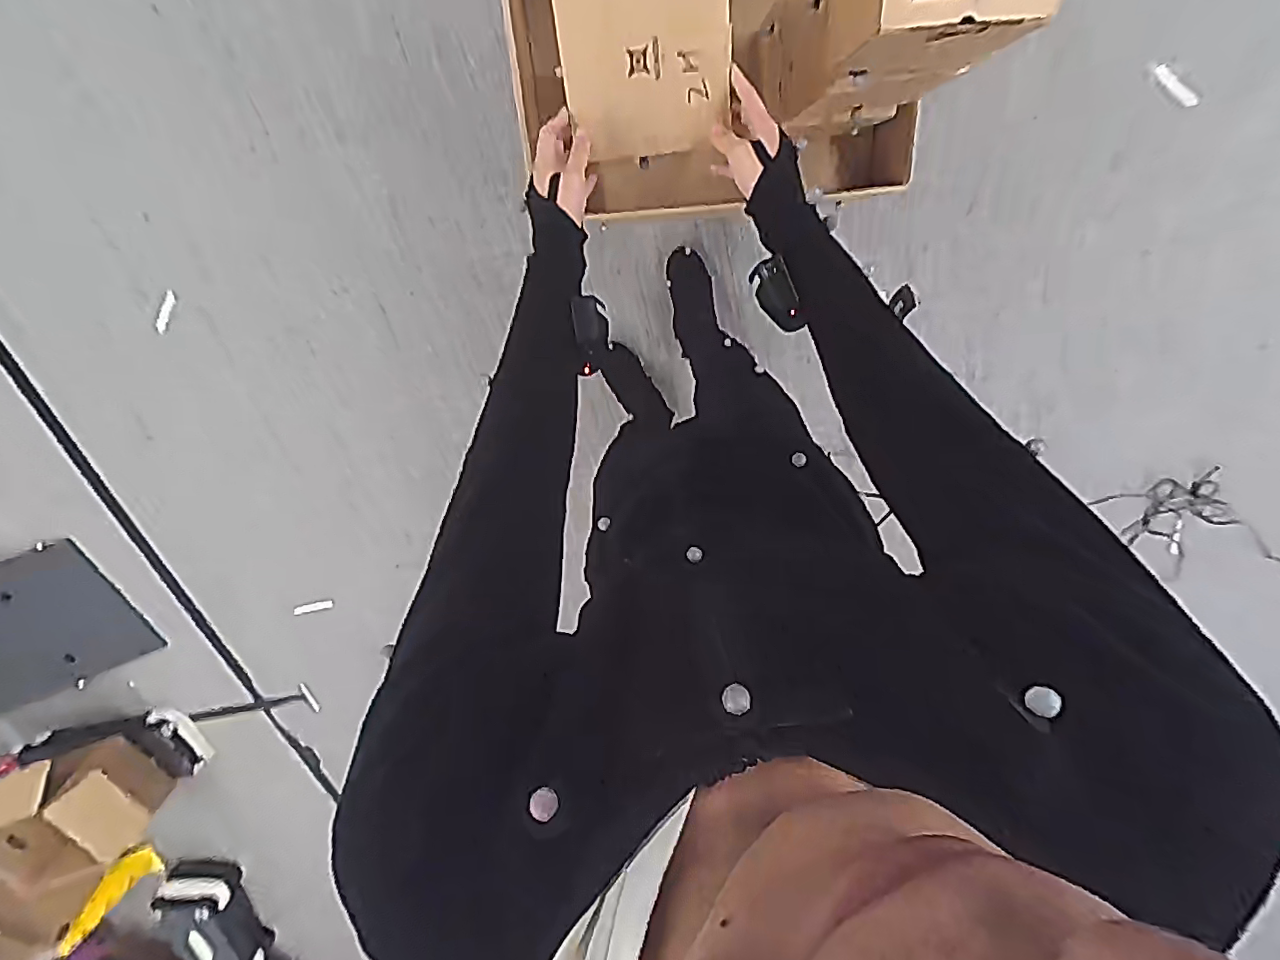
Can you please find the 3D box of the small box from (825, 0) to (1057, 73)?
[{"bbox_3d":[0.293,-0.528,0.535,0.168,0.176,0.179,-3,113,1],"label":"small box"}]

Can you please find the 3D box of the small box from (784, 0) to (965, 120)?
[{"bbox_3d":[0.293,-0.581,0.693,0.179,0.176,0.168,-7,114,3],"label":"small box"}]

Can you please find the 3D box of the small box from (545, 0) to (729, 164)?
[{"bbox_3d":[0.002,-0.460,0.606,0.179,0.176,0.168,-6,125,2],"label":"small box"}]
